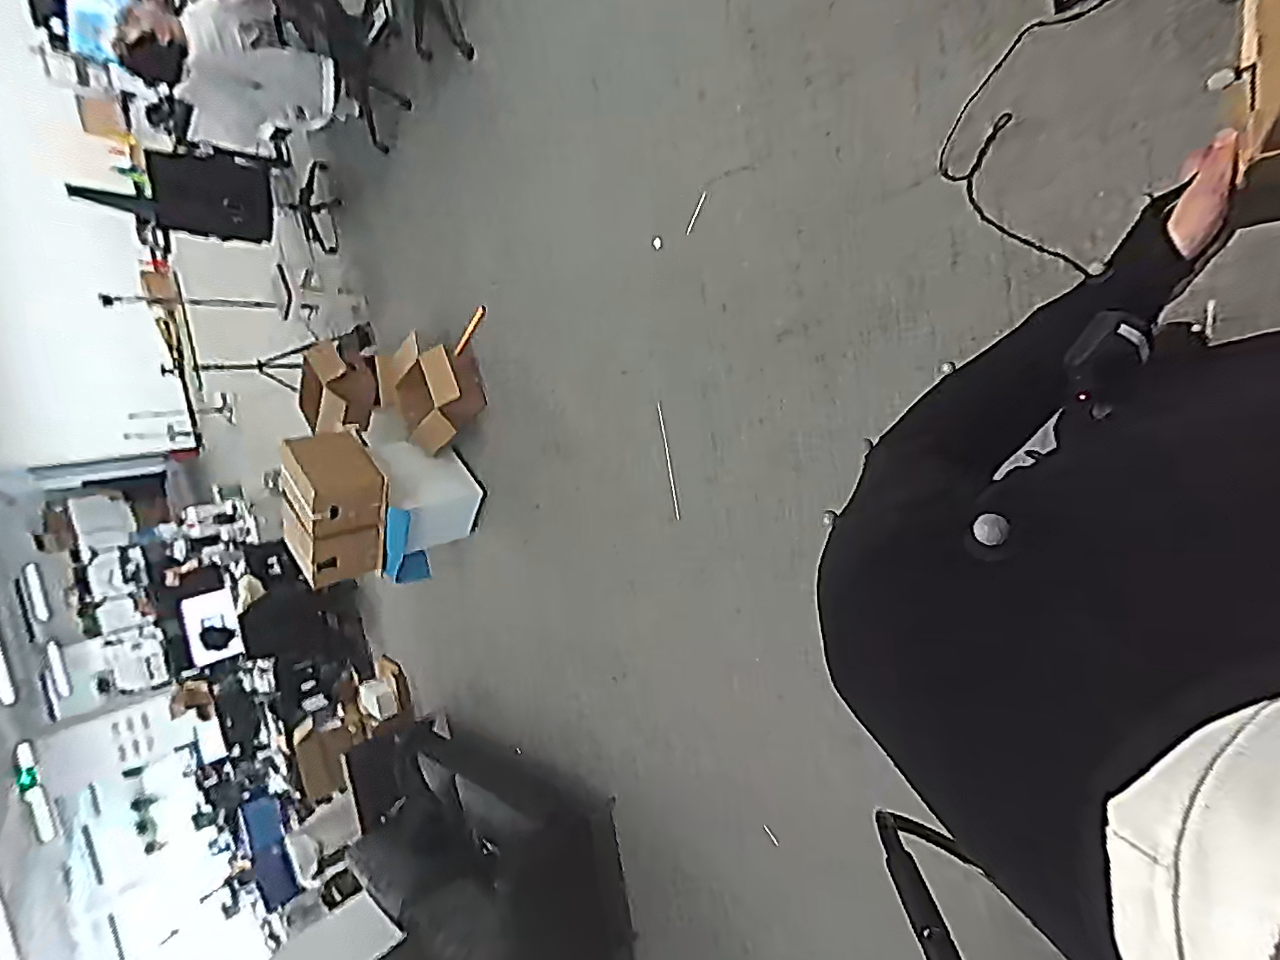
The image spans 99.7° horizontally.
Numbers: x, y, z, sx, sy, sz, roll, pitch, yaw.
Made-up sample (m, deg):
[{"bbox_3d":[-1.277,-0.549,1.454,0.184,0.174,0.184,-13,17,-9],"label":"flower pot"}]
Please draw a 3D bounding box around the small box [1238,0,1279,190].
[{"bbox_3d":[0.516,-0.307,0.341,0.179,0.176,0.168,3,102,44],"label":"small box"}]

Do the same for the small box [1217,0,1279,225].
[{"bbox_3d":[0.626,-0.333,0.458,0.179,0.176,0.168,4,103,43],"label":"small box"}]

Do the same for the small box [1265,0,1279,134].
[{"bbox_3d":[0.406,-0.279,0.221,0.179,0.176,0.168,1,101,44],"label":"small box"}]
